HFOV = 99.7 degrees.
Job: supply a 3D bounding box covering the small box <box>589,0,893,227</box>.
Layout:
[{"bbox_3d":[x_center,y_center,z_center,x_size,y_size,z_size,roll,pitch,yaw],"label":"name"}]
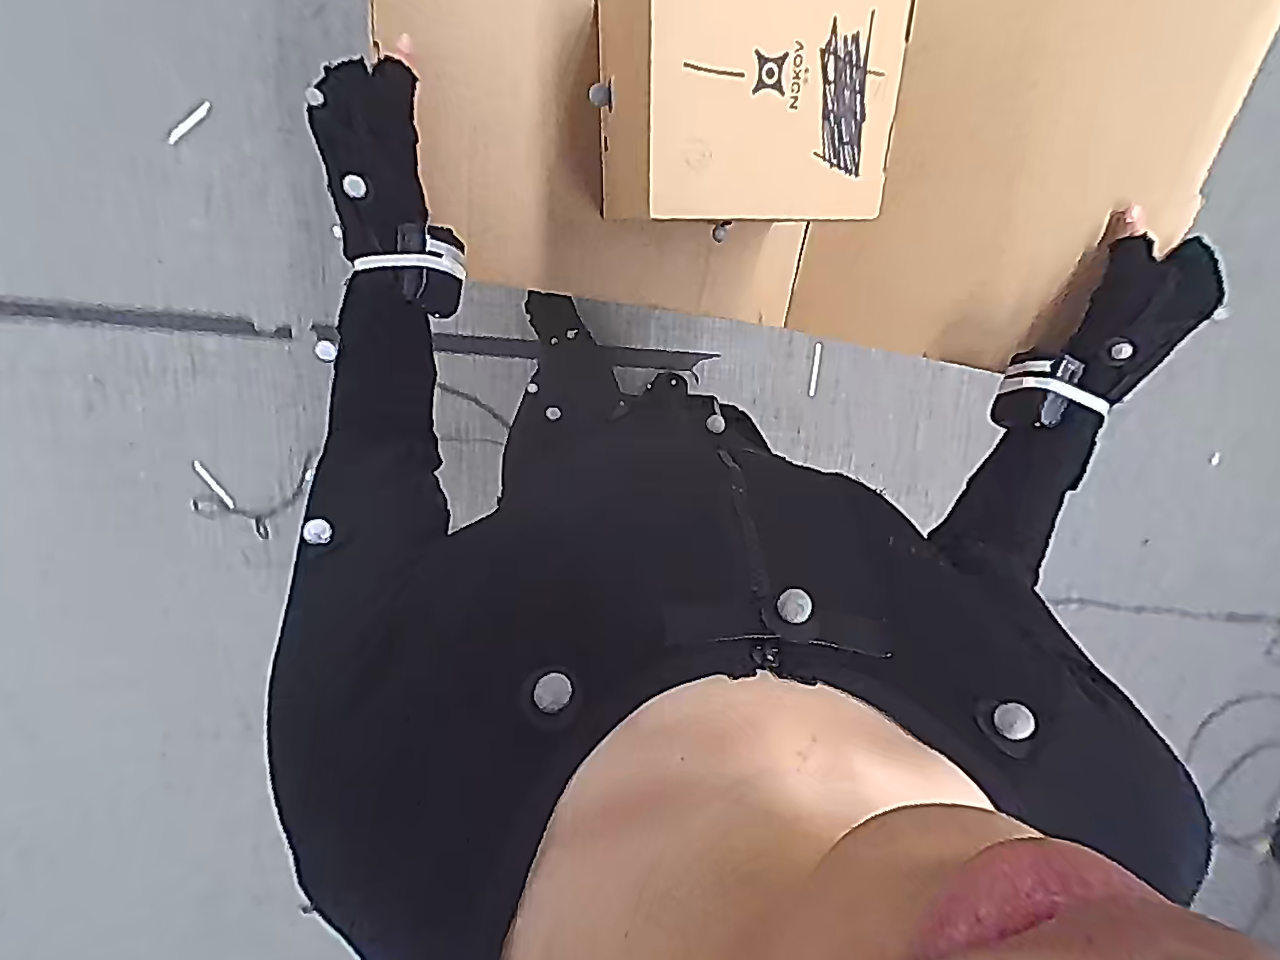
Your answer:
[{"bbox_3d":[0.062,-0.292,0.424,0.179,0.176,0.168,-7,115,-12],"label":"small box"}]
